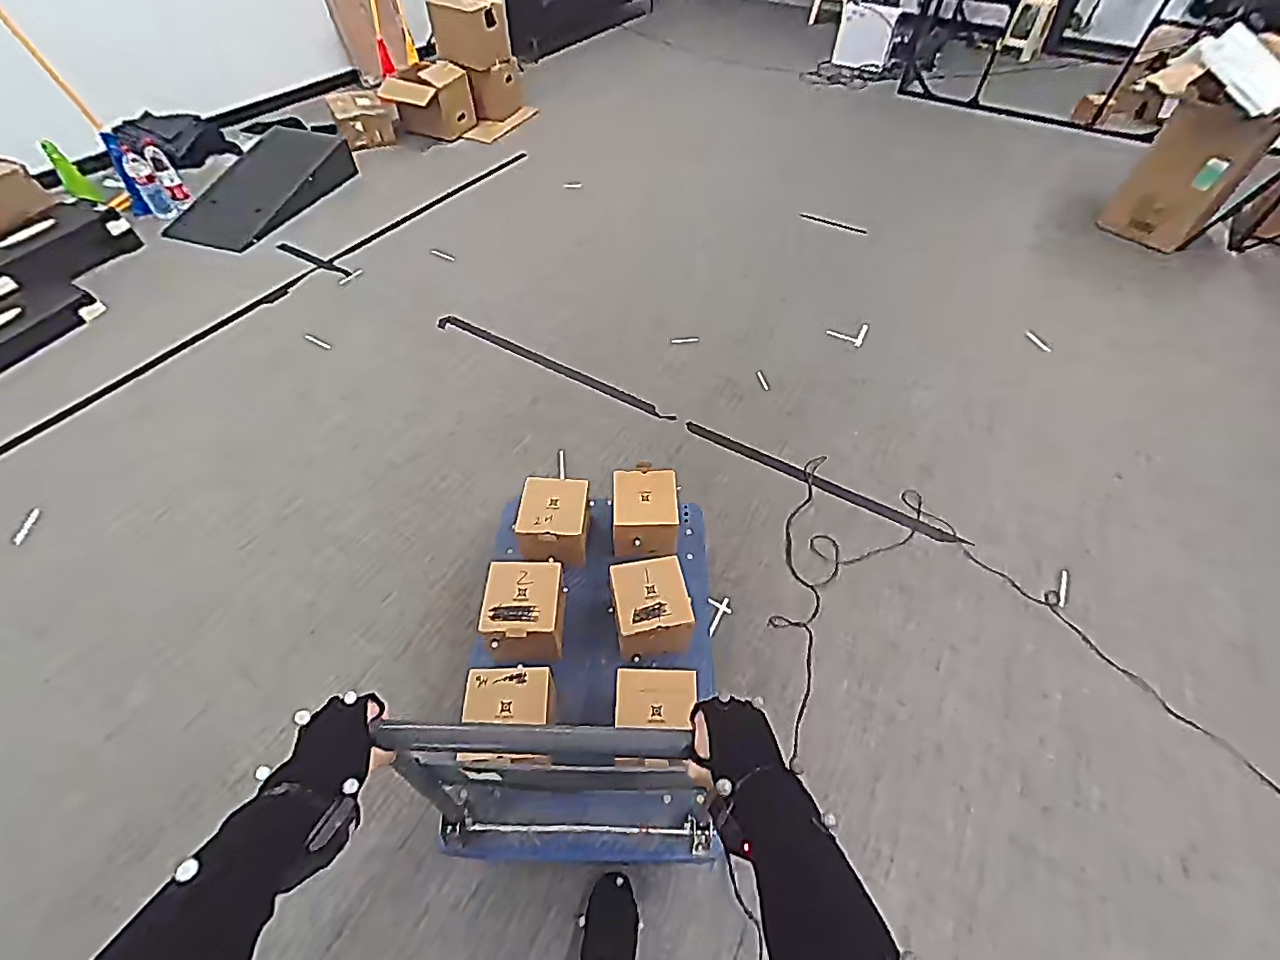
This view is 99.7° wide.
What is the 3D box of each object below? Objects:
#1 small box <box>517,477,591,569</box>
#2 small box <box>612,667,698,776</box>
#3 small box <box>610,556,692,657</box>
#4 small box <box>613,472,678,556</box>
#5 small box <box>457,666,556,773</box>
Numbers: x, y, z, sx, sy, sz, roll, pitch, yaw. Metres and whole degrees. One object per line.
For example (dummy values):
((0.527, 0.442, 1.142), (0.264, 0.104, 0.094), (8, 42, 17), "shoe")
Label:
((-0.221, 0.116, 1.438), (0.168, 0.176, 0.179), (3, 52, 1), "small box")
((0.030, 0.512, 1.136), (0.168, 0.176, 0.179), (3, 51, -1), "small box")
((0.023, 0.309, 1.296), (0.168, 0.176, 0.179), (-7, 51, -8), "small box")
((0.012, 0.096, 1.466), (0.168, 0.176, 0.179), (0, 51, -2), "small box")
((-0.267, 0.504, 1.128), (0.168, 0.176, 0.179), (0, 52, -3), "small box")
